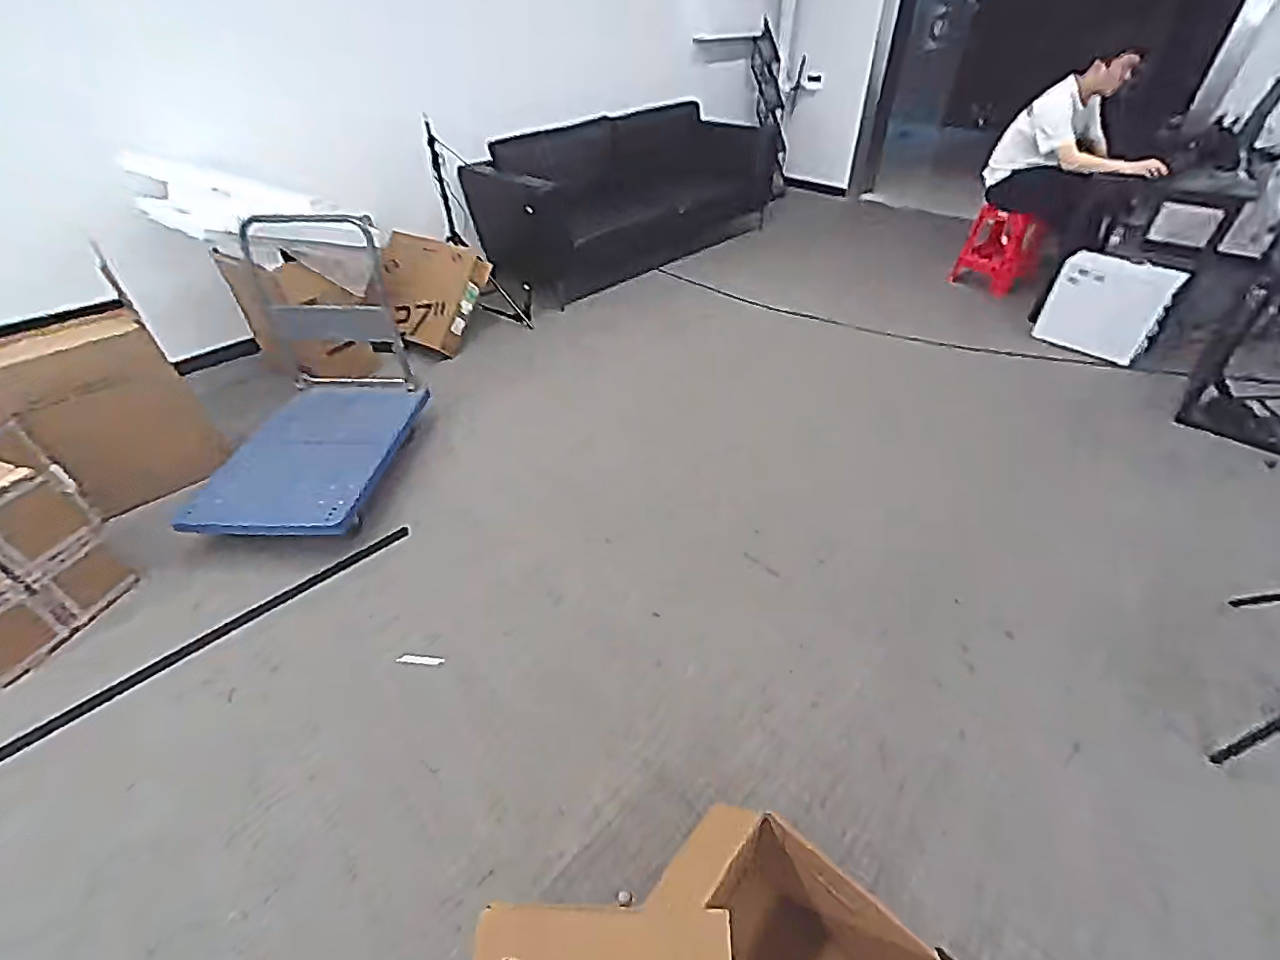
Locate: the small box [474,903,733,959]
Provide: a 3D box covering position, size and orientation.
[{"bbox_3d":[-0.022,0.412,0.383,0.179,0.176,0.168,-1,49,3],"label":"small box"}]
